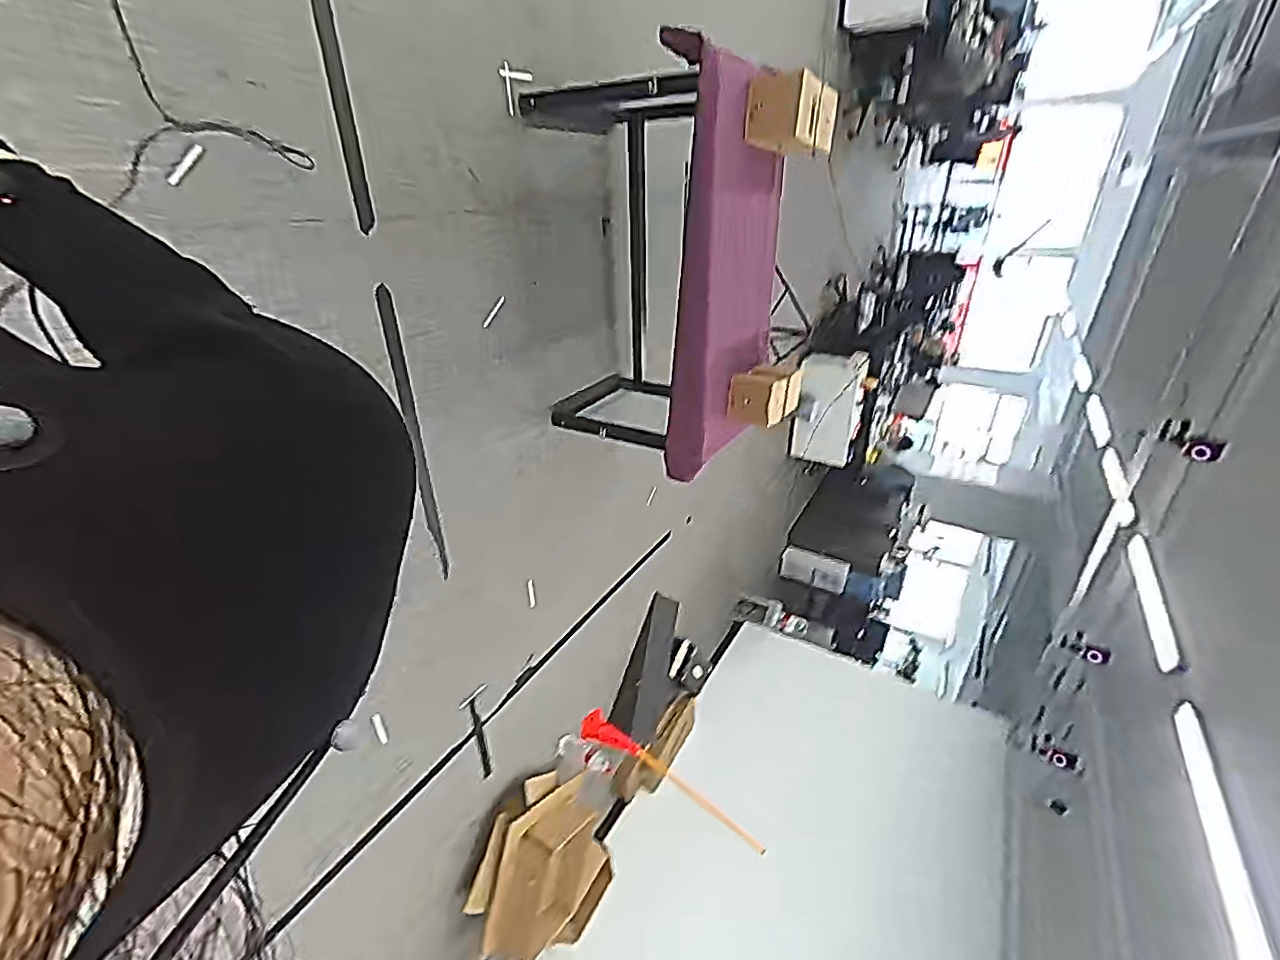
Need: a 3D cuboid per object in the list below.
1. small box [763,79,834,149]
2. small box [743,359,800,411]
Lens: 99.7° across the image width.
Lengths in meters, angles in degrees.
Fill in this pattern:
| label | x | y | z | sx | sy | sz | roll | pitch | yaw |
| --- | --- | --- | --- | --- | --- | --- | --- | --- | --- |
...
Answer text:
| label | x | y | z | sx | sy | sz | roll | pitch | yaw |
| --- | --- | --- | --- | --- | --- | --- | --- | --- | --- |
| small box | 0.526 | -1.210 | 1.798 | 0.179 | 0.176 | 0.168 | -32 | 130 | -50 |
| small box | 0.541 | -0.398 | 2.228 | 0.179 | 0.176 | 0.168 | -34 | 133 | -51 |
